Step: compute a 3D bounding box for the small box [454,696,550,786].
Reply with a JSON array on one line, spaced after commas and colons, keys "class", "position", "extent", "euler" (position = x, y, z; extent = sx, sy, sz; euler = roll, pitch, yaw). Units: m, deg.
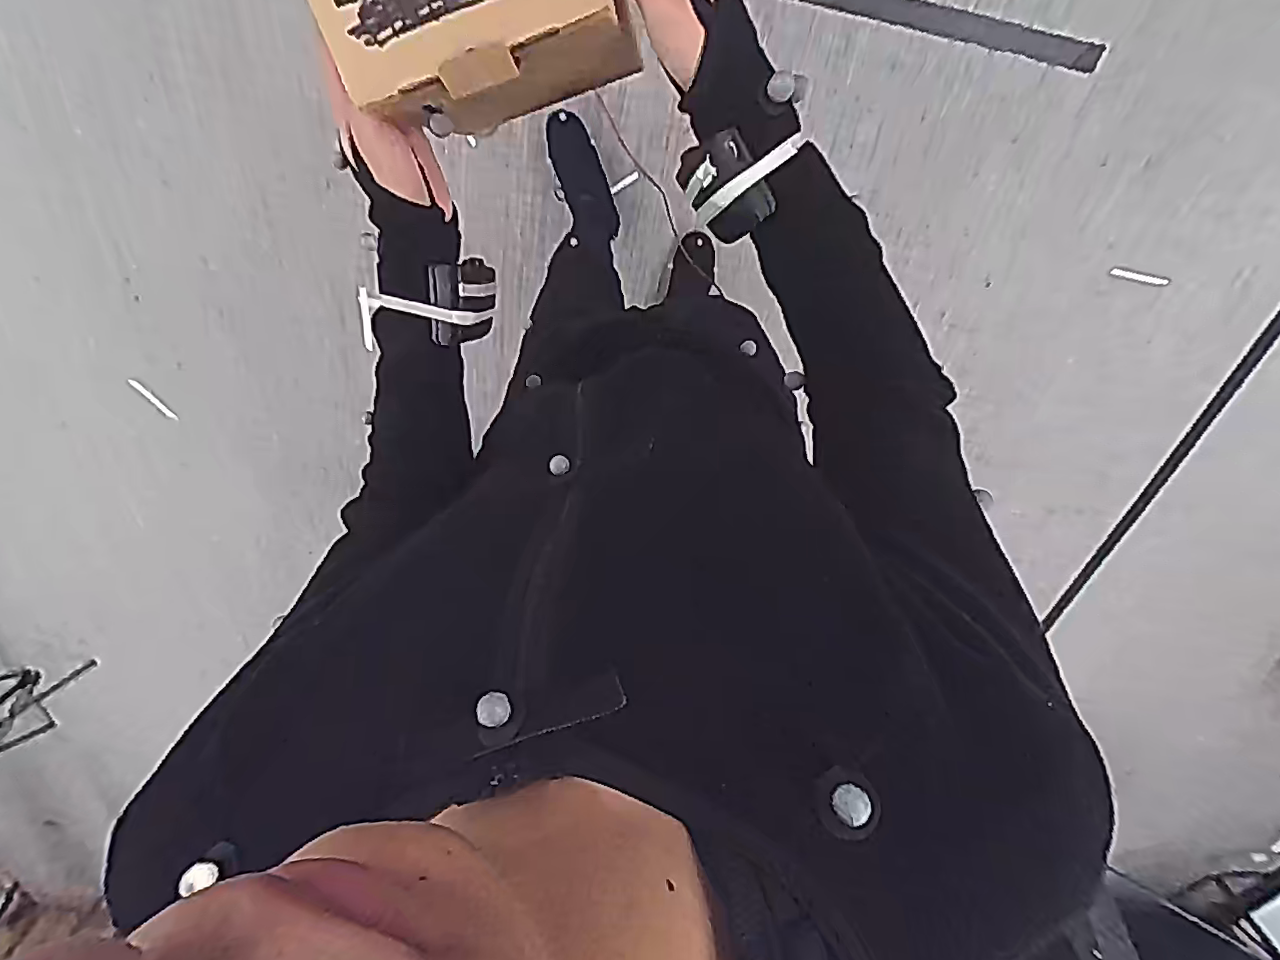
[{"class": "small box", "position": [-0.296, 0.588, 1.142], "extent": [0.168, 0.176, 0.179], "euler": [15, 119, -6]}]
